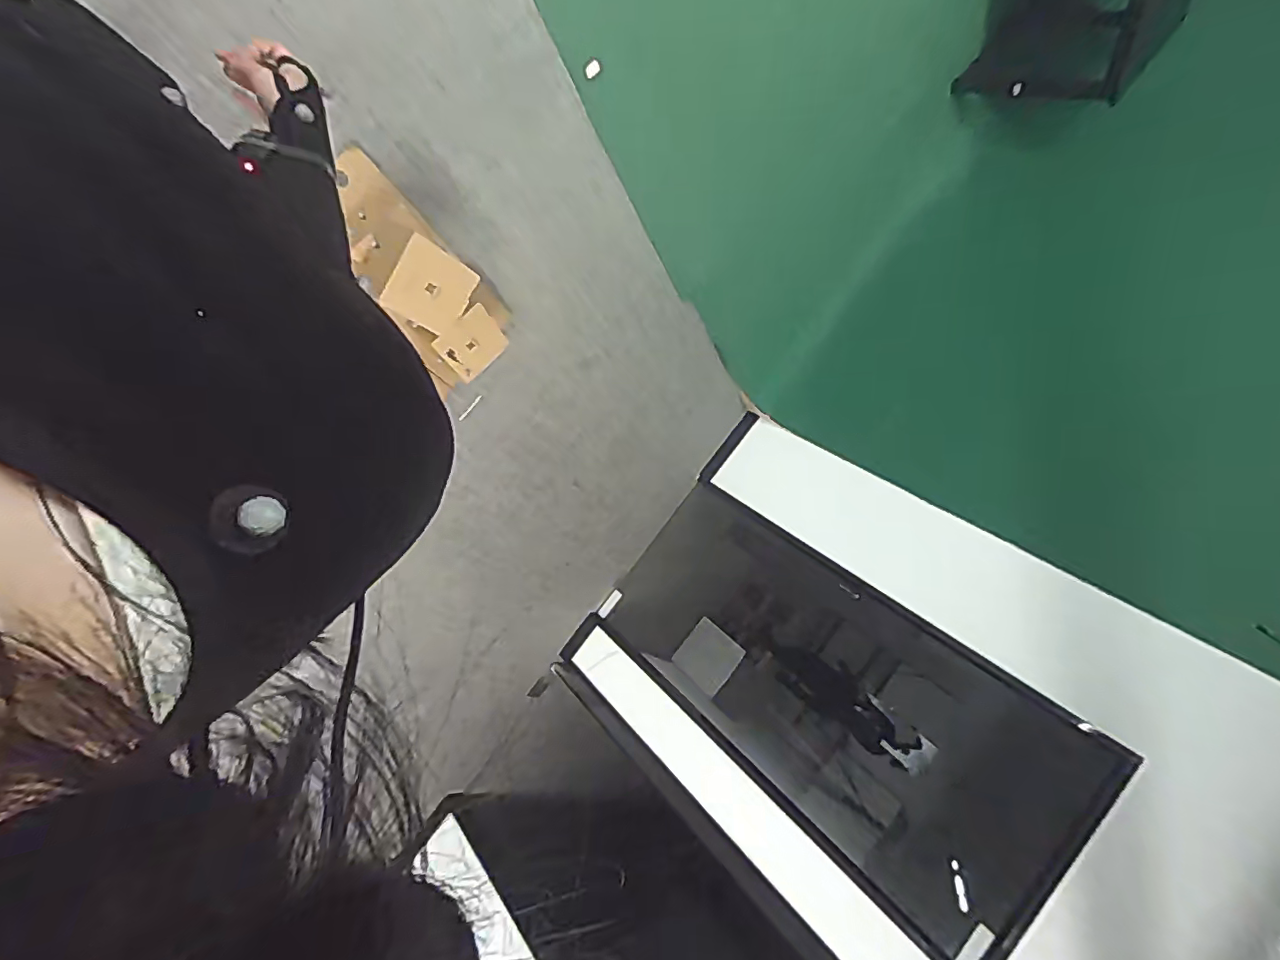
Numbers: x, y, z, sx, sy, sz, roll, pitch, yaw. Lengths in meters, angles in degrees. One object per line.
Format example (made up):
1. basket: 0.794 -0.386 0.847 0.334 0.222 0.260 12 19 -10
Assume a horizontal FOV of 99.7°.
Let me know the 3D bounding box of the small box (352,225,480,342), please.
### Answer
1. small box: -0.504 -0.444 1.214 0.179 0.176 0.168 24 99 -54

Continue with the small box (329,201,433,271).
1. small box: -0.605 -0.543 1.301 0.168 0.176 0.179 -47 145 -8

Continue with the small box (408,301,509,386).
1. small box: -0.513 -0.405 1.523 0.179 0.176 0.168 -48 145 -10
